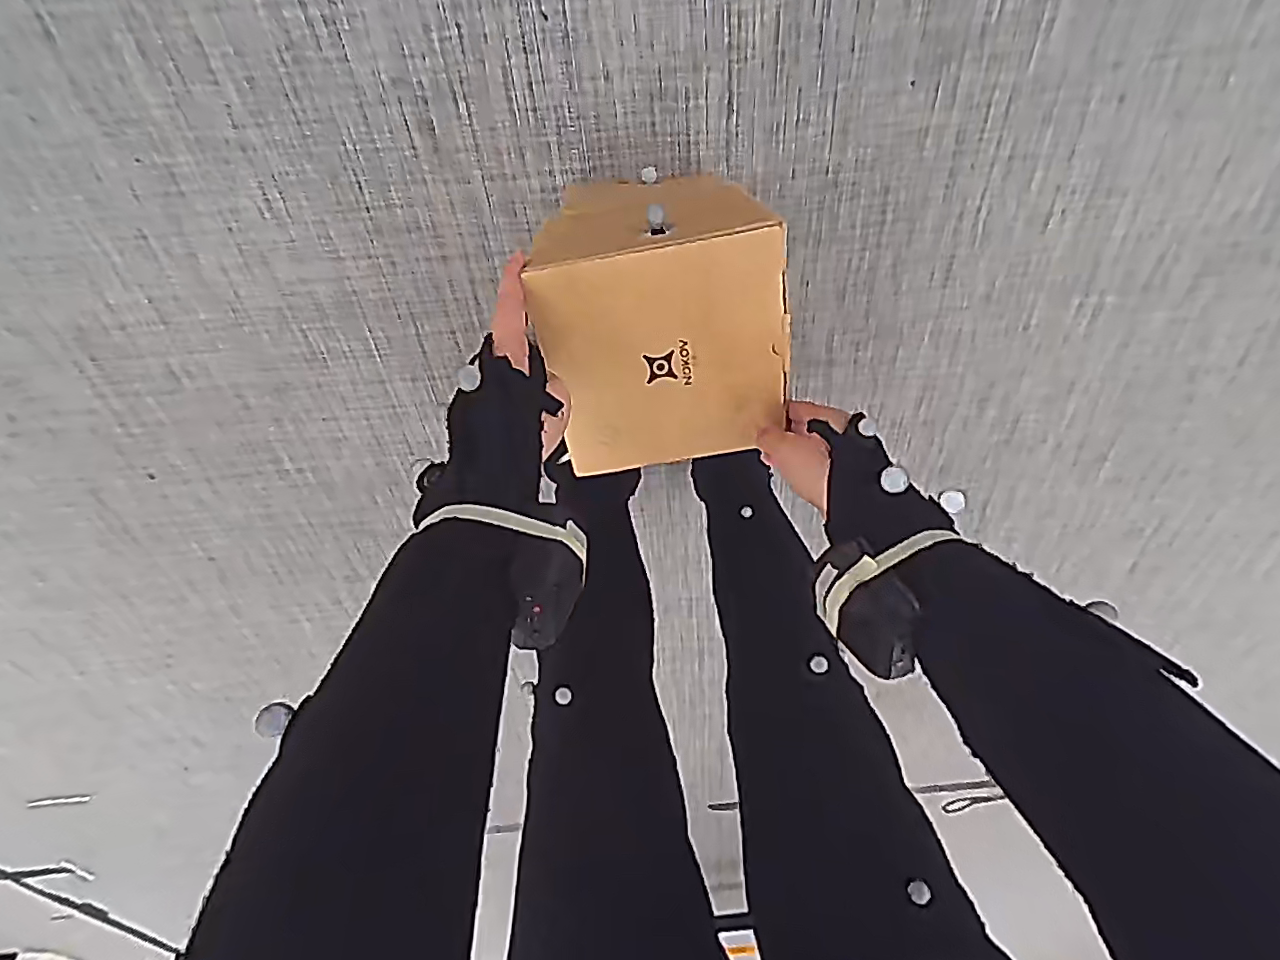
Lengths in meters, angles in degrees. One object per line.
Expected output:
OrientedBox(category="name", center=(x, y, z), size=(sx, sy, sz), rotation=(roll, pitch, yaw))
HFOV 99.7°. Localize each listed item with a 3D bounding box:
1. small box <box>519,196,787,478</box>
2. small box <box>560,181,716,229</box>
OrientedBox(category="small box", center=(0.015, -0.125, 0.454), size=(0.179, 0.176, 0.168), rotation=(-10, 125, 2))
OrientedBox(category="small box", center=(0.009, -0.215, 0.593), size=(0.168, 0.176, 0.179), rotation=(-4, 125, -1))
